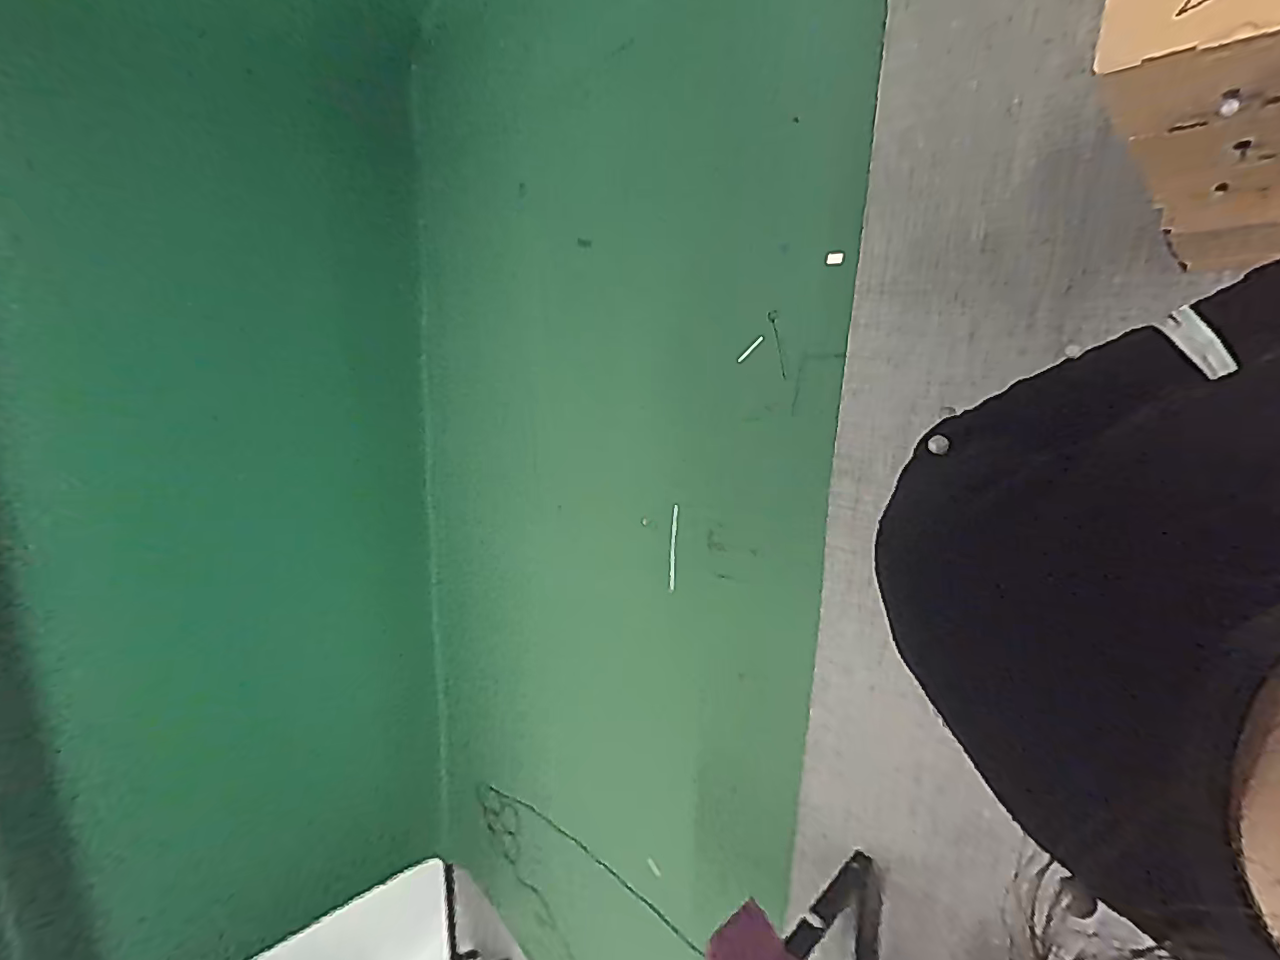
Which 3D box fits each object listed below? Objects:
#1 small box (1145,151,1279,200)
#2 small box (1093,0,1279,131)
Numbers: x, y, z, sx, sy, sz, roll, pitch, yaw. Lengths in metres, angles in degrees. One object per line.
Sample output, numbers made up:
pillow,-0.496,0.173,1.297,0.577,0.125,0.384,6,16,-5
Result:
small box,0.725,-0.450,0.632,0.168,0.176,0.179,15,109,45
small box,0.482,-0.405,0.414,0.168,0.176,0.179,17,110,45
